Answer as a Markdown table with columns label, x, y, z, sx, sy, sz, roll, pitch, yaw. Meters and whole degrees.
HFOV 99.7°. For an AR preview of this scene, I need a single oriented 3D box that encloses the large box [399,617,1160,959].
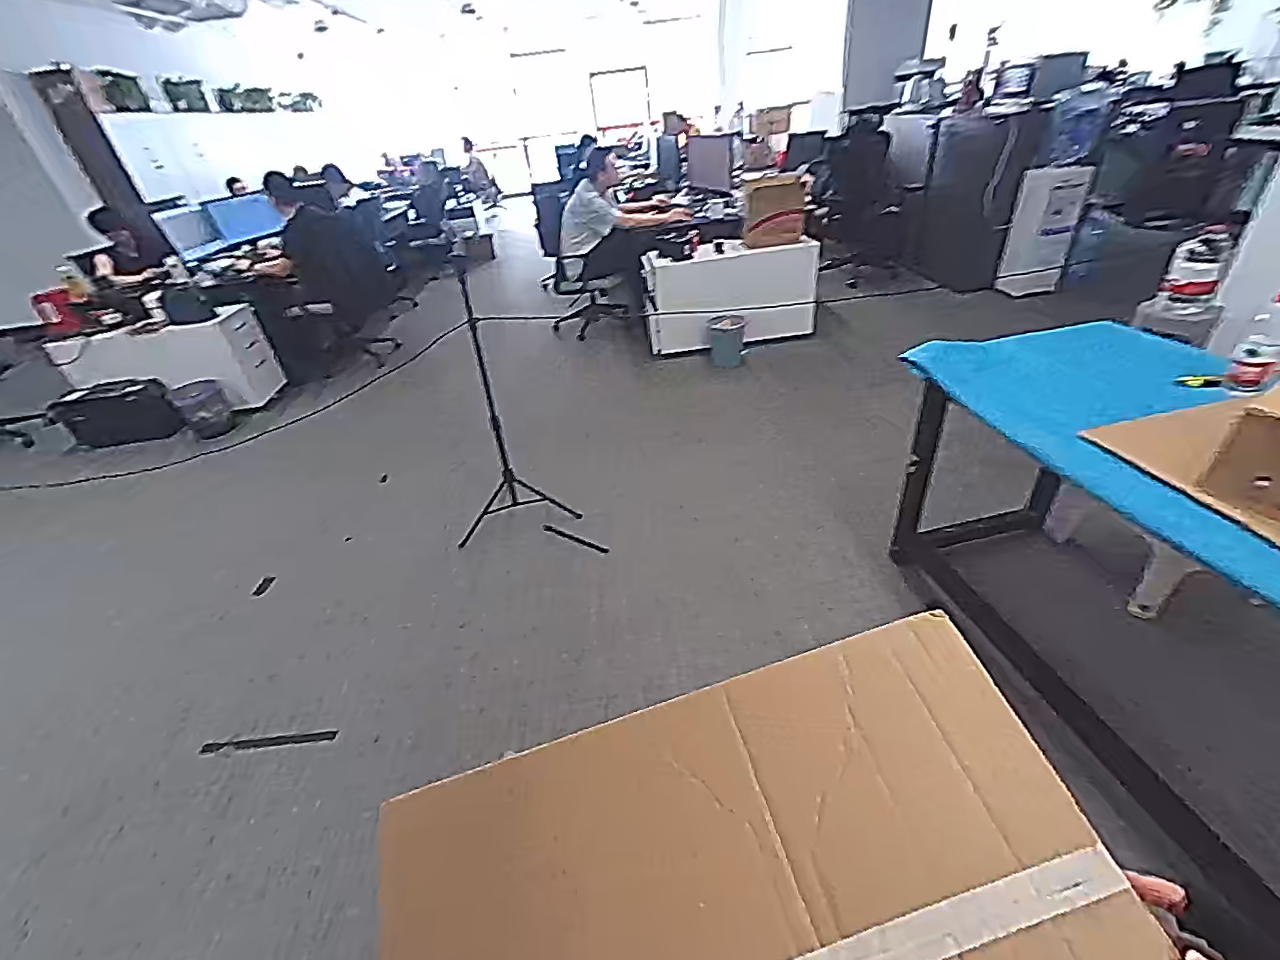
| label | x | y | z | sx | sy | sz | roll | pitch | yaw |
| --- | --- | --- | --- | --- | --- | --- | --- | --- | --- |
| large box | 0.087 | 0.362 | 0.412 | 0.408 | 0.320 | 0.320 | -18 | 56 | -4 |
